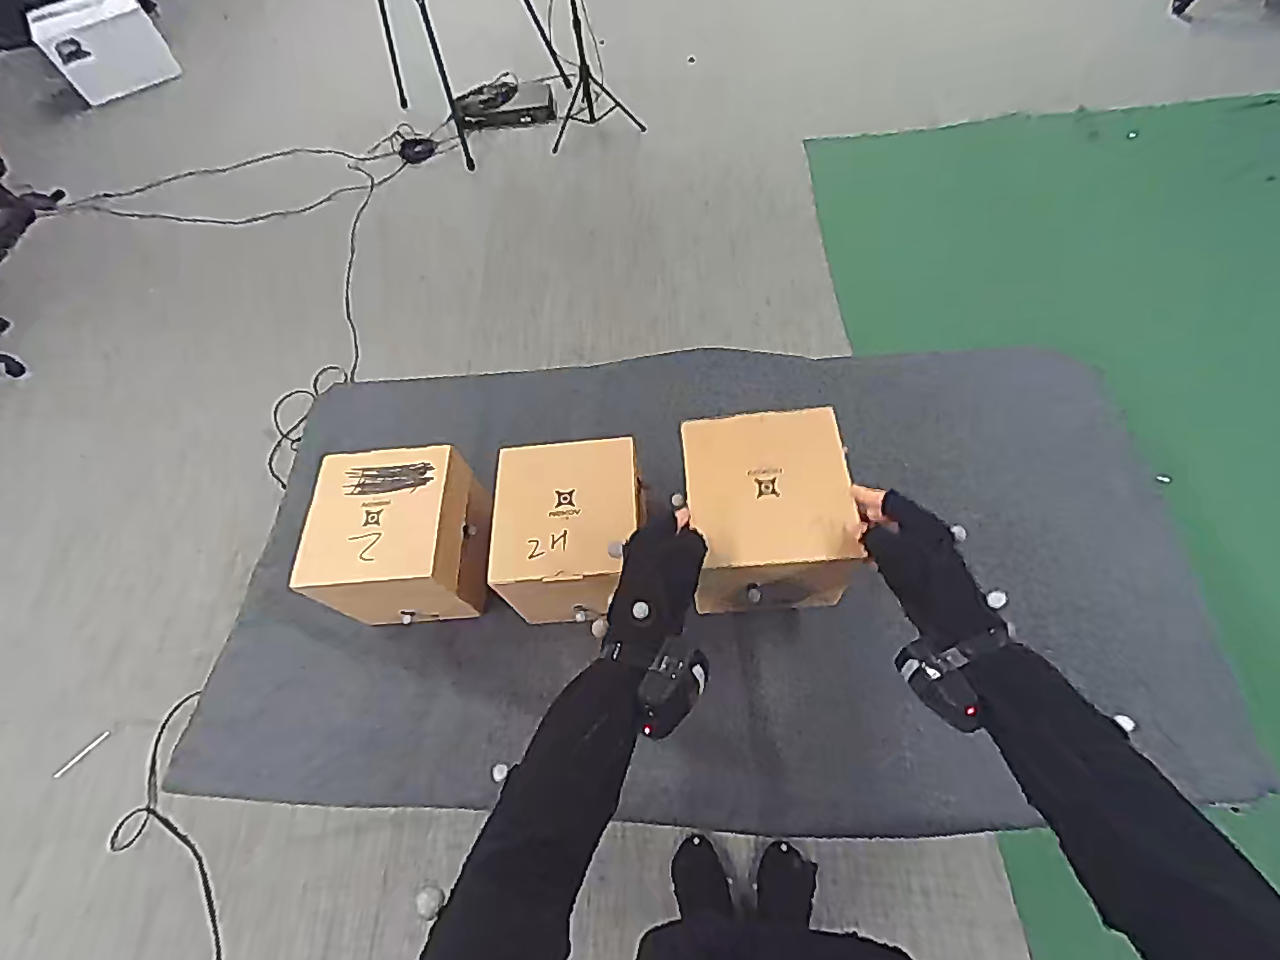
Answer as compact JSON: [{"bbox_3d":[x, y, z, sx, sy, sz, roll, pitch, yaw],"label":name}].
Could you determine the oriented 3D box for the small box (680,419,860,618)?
[{"bbox_3d":[0.140,0.055,0.628,0.168,0.176,0.179,-6,59,6],"label":"small box"}]

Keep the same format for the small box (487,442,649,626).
[{"bbox_3d":[-0.078,0.073,0.685,0.168,0.176,0.179,-4,60,4],"label":"small box"}]
